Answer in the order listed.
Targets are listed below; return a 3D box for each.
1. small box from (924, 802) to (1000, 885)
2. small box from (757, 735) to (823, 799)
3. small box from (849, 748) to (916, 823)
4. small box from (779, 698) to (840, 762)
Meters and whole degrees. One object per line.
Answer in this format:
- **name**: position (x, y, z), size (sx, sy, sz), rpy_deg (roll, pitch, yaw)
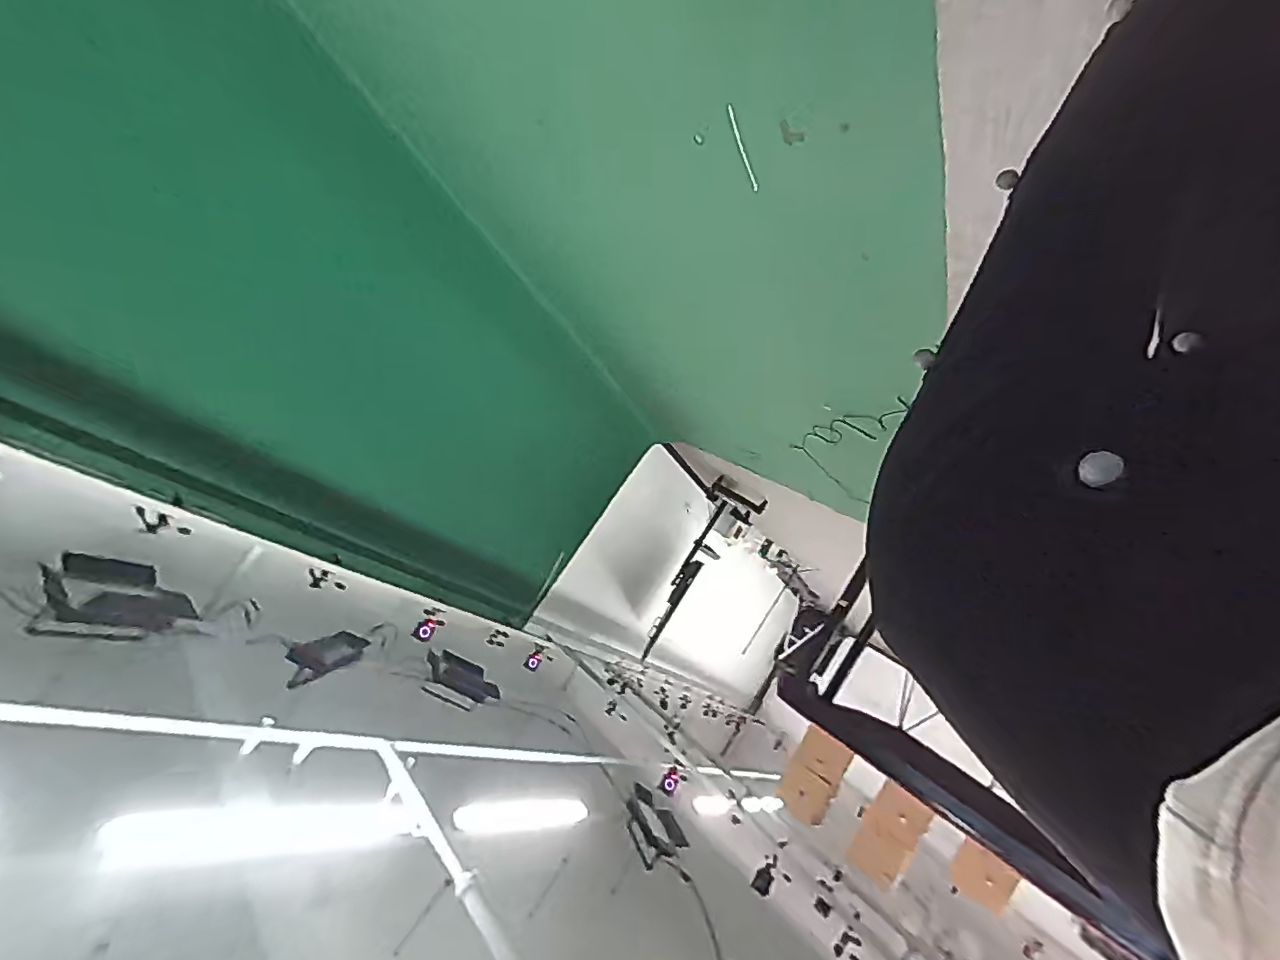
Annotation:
- **small box**: position (1.094, 1.225, 1.833), size (0.168, 0.176, 0.179), rpy_deg (27, 172, 43)
- **small box**: position (0.607, 1.148, 2.177), size (0.179, 0.176, 0.168), rpy_deg (25, 170, 40)
- **small box**: position (0.903, 1.122, 1.997), size (0.179, 0.176, 0.168), rpy_deg (27, 171, 36)
- **small box**: position (0.695, 1.012, 2.198), size (0.179, 0.176, 0.168), rpy_deg (28, 172, 34)
